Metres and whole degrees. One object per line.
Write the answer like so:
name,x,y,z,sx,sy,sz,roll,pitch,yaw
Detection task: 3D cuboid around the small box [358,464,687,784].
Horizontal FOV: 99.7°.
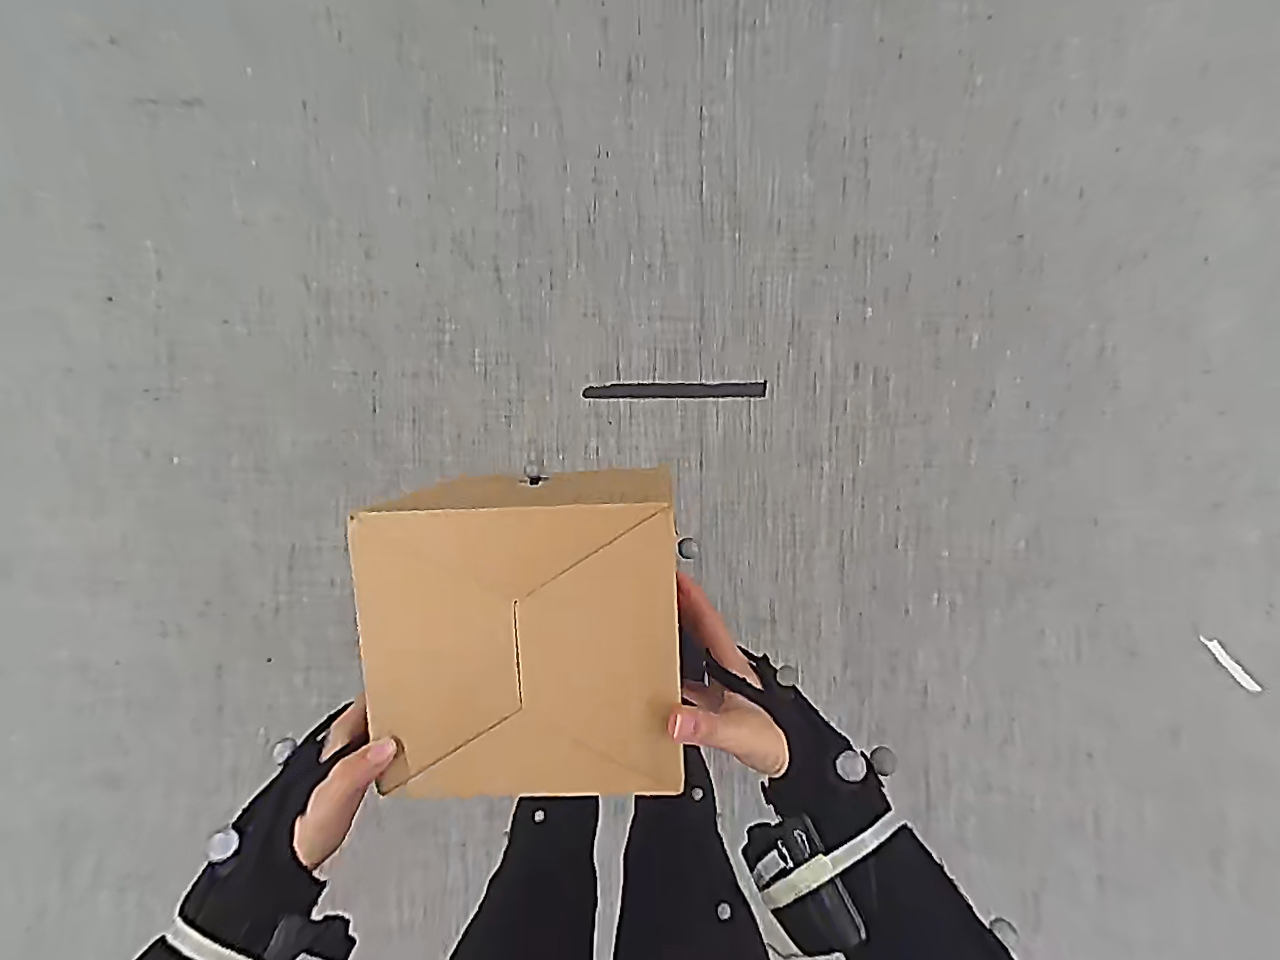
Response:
small box,-0.059,0.082,0.375,0.179,0.176,0.168,-2,97,2
